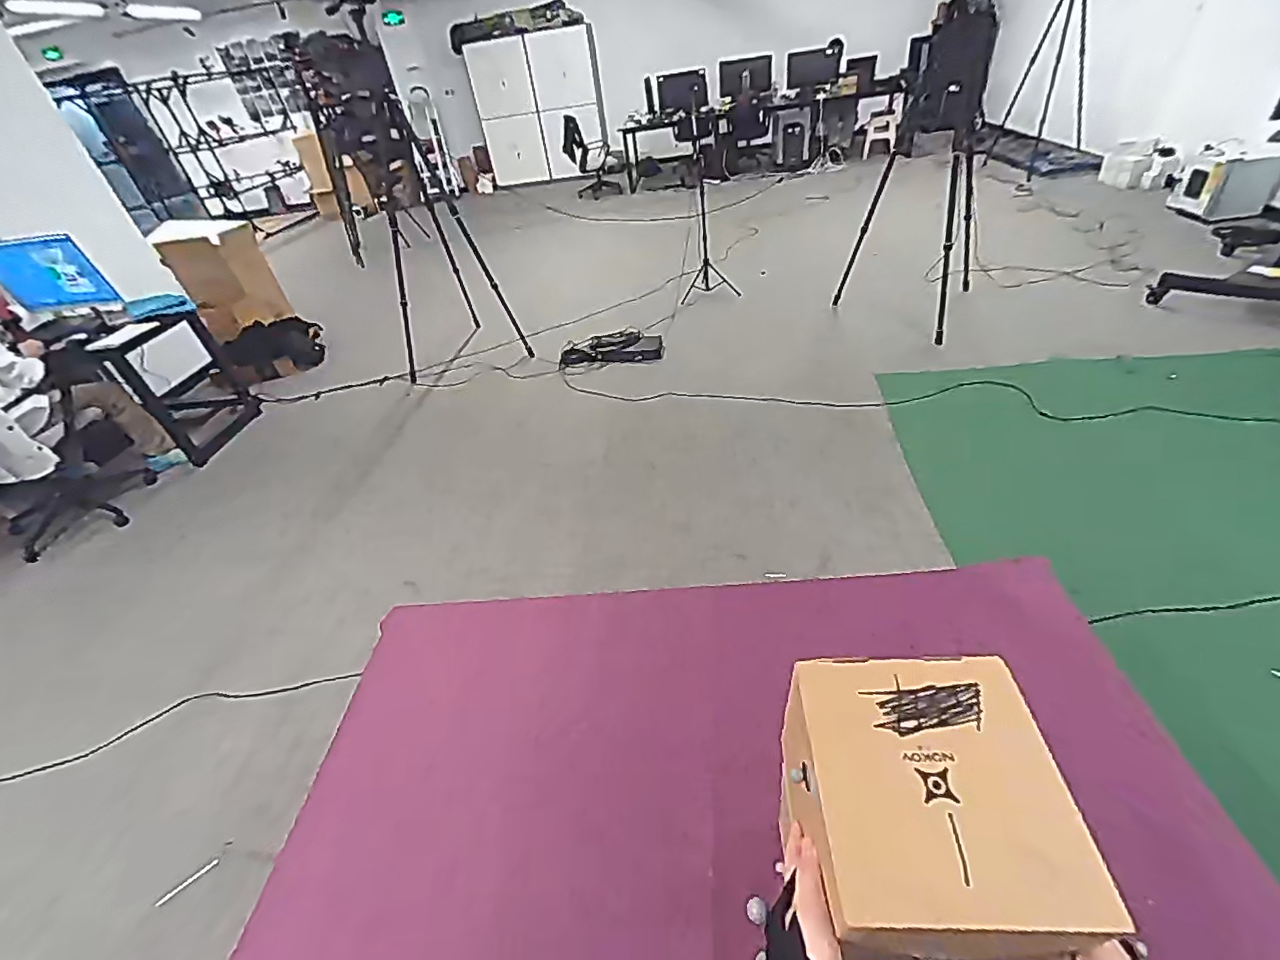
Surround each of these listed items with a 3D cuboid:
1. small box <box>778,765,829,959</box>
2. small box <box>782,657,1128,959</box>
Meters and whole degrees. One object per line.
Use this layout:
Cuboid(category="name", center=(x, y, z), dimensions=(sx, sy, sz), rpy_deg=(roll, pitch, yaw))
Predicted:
Cuboid(category="small box", center=(0.246, 0.423, 0.574), dimensions=(0.179, 0.176, 0.168), rpy_deg=(-4, 38, 8))
Cuboid(category="small box", center=(0.211, 0.263, 0.432), dimensions=(0.168, 0.176, 0.179), rpy_deg=(-4, 43, 6))
